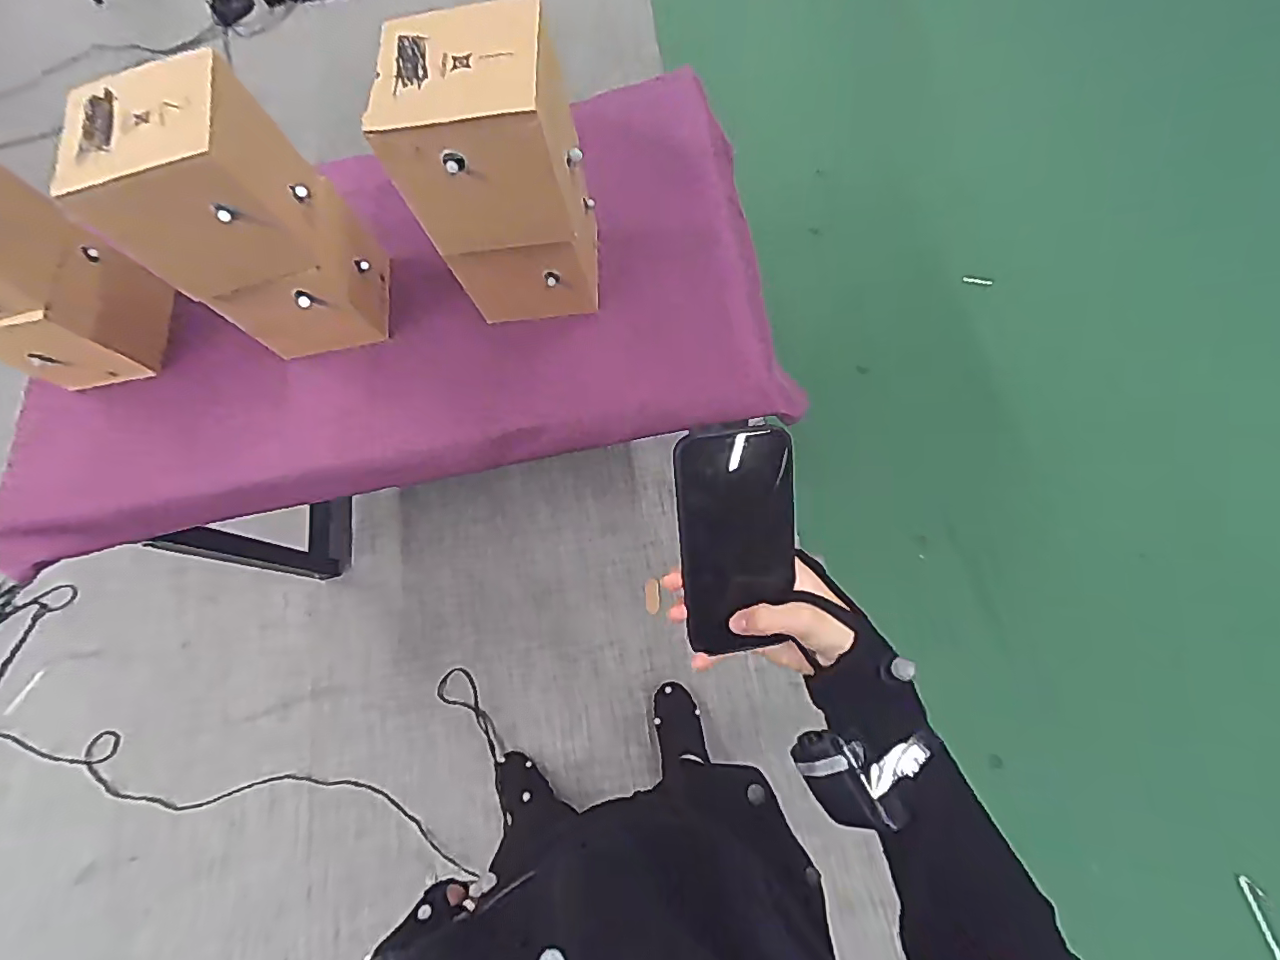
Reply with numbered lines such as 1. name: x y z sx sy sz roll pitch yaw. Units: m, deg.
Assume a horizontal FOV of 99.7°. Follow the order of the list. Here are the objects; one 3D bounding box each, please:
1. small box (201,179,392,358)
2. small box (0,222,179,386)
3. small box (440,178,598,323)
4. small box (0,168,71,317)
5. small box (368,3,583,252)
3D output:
1. small box: -0.497 -0.306 0.811 0.179 0.176 0.168 -9 70 5
2. small box: -0.883 -0.263 0.853 0.168 0.176 0.179 -9 70 5
3. small box: -0.160 -0.347 0.778 0.179 0.176 0.168 -3 71 8
4. small box: -0.906 -0.323 0.701 0.168 0.176 0.179 -13 71 3
5. small box: -0.172 -0.386 0.619 0.179 0.176 0.168 -4 71 6
